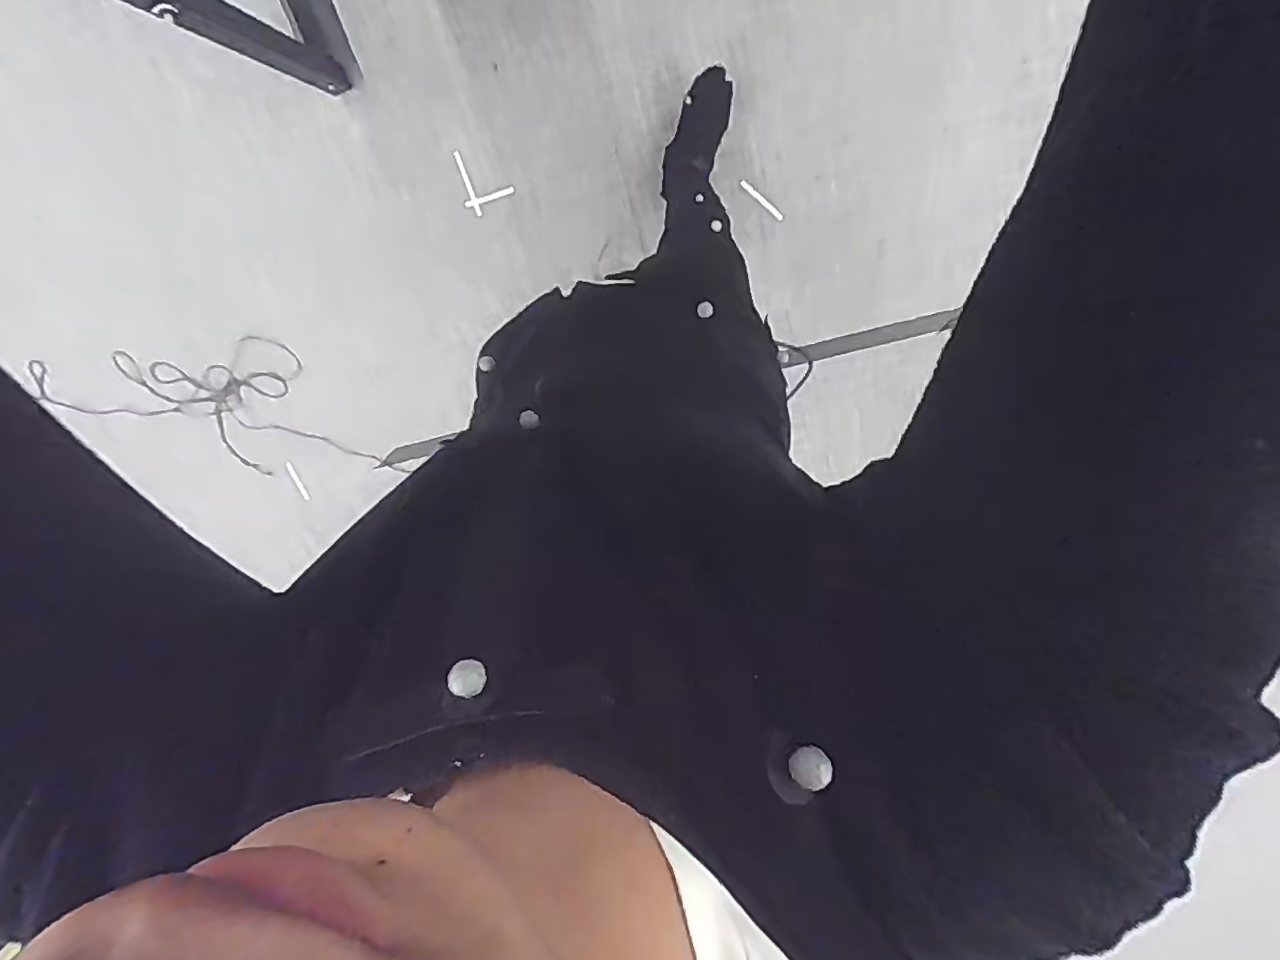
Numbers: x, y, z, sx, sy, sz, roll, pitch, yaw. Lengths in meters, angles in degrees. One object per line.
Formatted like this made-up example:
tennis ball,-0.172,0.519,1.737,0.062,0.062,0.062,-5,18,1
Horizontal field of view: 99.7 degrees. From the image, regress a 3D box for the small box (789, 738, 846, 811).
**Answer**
small box,0.682,1.134,2.085,0.168,0.176,0.179,-12,112,7
